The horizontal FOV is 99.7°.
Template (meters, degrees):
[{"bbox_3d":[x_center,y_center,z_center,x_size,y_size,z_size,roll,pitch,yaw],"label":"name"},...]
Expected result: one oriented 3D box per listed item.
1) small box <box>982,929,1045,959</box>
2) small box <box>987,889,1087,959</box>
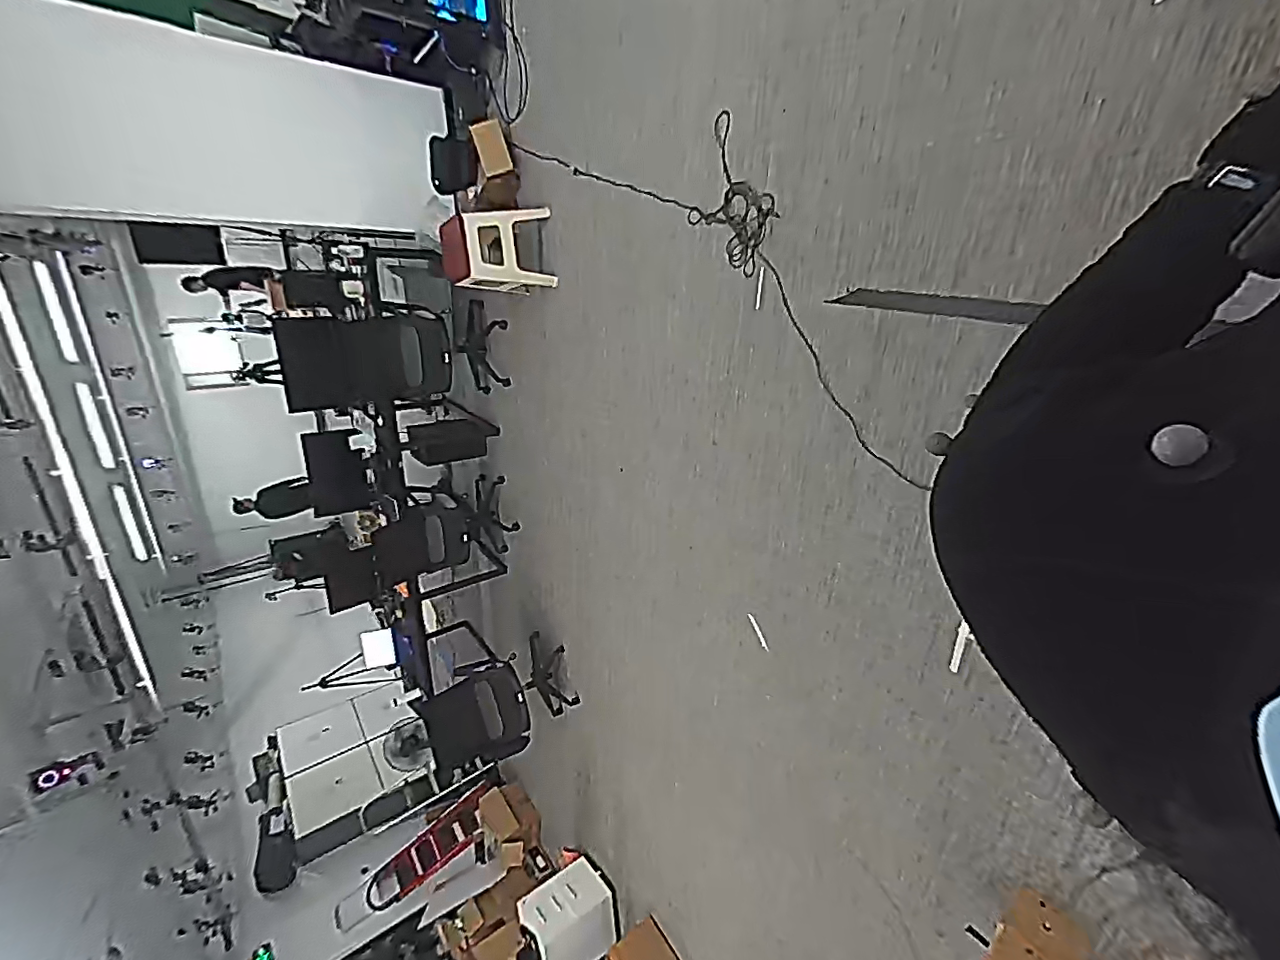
[{"bbox_3d":[0.950,1.305,1.366,0.168,0.176,0.179,33,126,43],"label":"small box"},{"bbox_3d":[1.074,1.274,1.468,0.168,0.176,0.179,26,122,47],"label":"small box"}]
